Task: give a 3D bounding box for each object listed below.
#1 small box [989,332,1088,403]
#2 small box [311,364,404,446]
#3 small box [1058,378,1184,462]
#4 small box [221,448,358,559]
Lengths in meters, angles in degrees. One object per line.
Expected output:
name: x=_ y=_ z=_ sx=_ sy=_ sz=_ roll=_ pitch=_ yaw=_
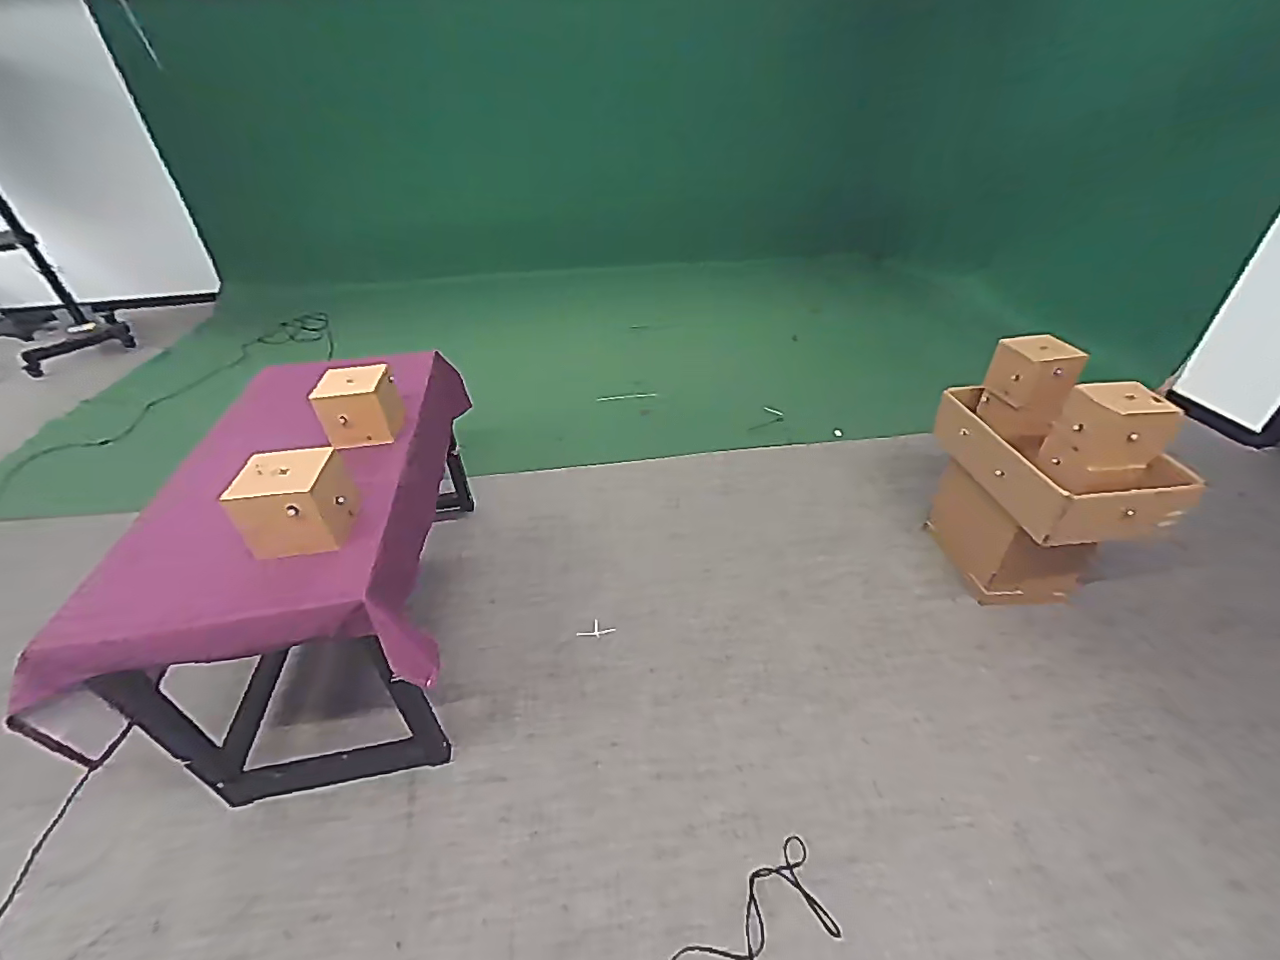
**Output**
small box: x=1.258 y=-0.357 z=1.729 sx=0.179 sy=0.176 sz=0.168 roll=-7 pitch=38 yaw=-6
small box: x=-0.783 y=-0.205 z=1.520 sx=0.168 sy=0.176 sz=0.179 roll=-7 pitch=37 yaw=-5
small box: x=1.288 y=-0.161 z=1.471 sx=0.179 sy=0.176 sz=0.168 roll=-4 pitch=38 yaw=-1
small box: x=-0.747 y=0.051 z=1.180 sx=0.179 sy=0.176 sz=0.168 roll=-7 pitch=37 yaw=-4
